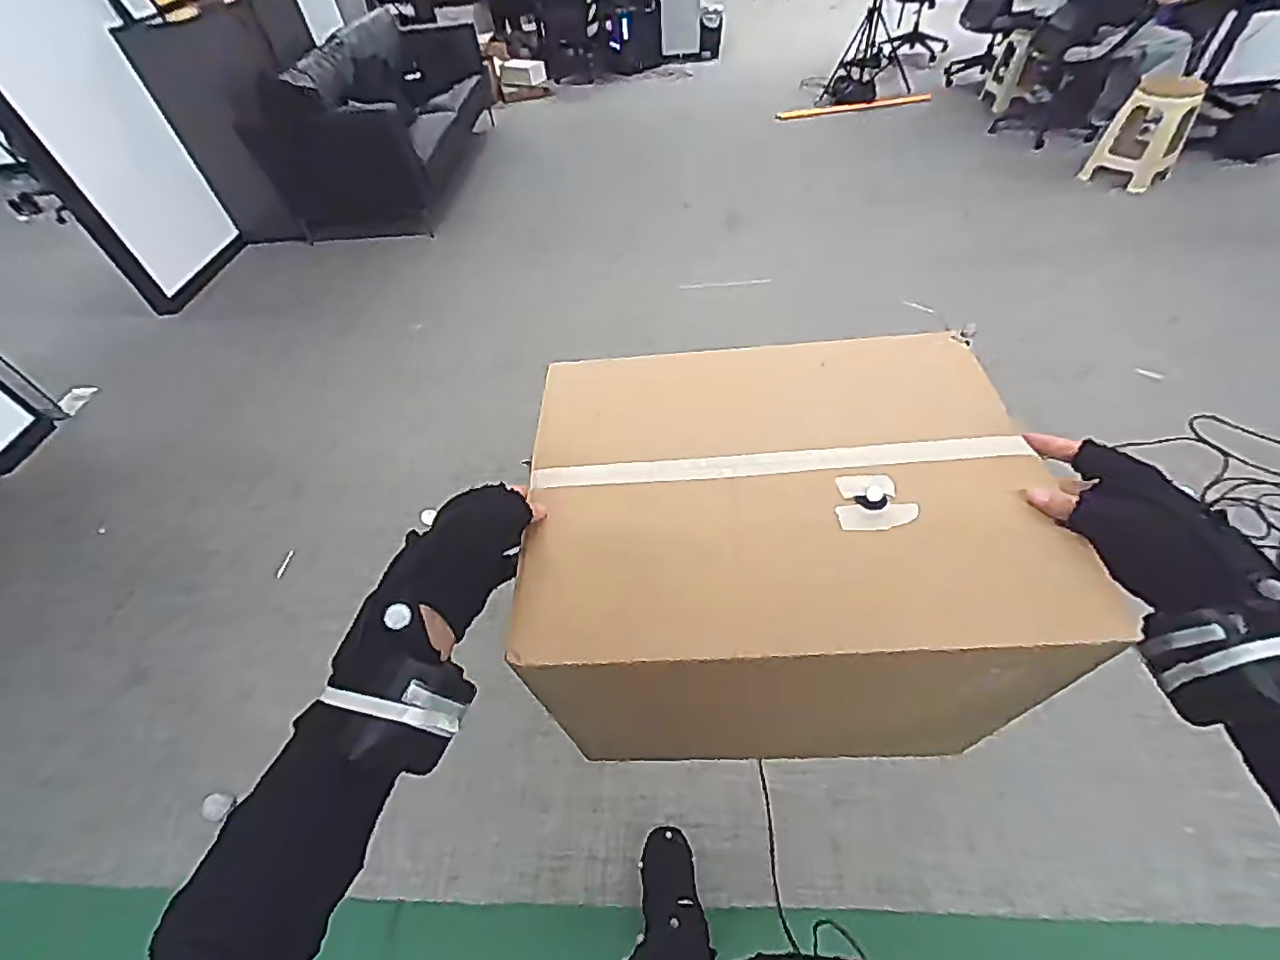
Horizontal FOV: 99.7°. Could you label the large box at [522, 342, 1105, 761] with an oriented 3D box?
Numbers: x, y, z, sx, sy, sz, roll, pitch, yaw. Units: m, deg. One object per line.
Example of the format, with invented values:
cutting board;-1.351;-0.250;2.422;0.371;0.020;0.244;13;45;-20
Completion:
large box;0.122;0.089;0.575;0.408;0.320;0.320;-4;52;4
